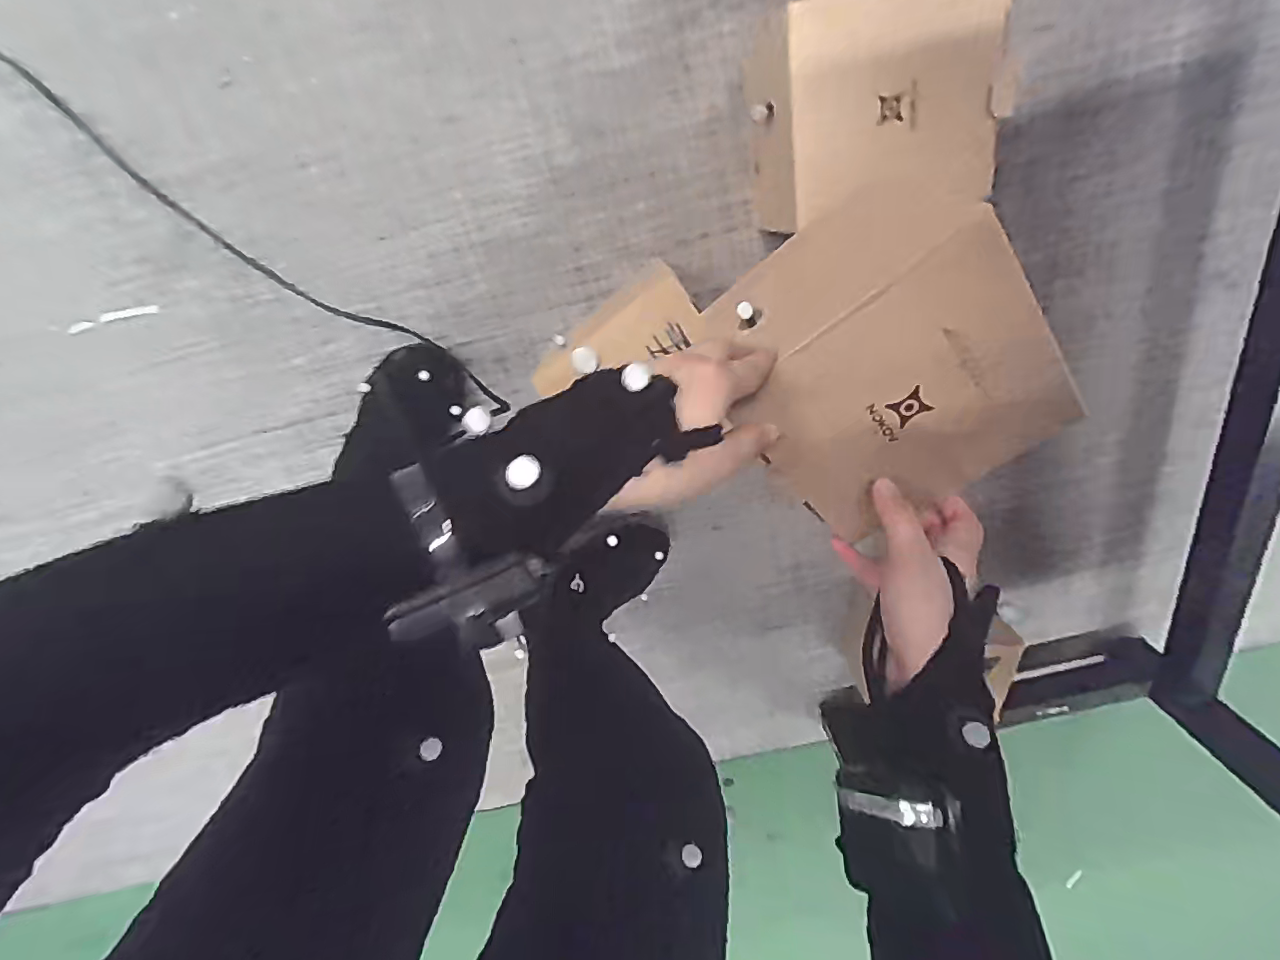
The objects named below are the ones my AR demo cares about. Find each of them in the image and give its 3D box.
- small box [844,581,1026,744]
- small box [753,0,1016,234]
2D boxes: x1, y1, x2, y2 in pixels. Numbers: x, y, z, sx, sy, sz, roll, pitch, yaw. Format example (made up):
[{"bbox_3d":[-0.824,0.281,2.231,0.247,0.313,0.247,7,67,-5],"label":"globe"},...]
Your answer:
[{"bbox_3d":[0.426,0.265,0.818,0.168,0.176,0.179,-2,118,-2],"label":"small box"},{"bbox_3d":[0.211,-0.336,0.517,0.179,0.176,0.168,-10,116,1],"label":"small box"}]
